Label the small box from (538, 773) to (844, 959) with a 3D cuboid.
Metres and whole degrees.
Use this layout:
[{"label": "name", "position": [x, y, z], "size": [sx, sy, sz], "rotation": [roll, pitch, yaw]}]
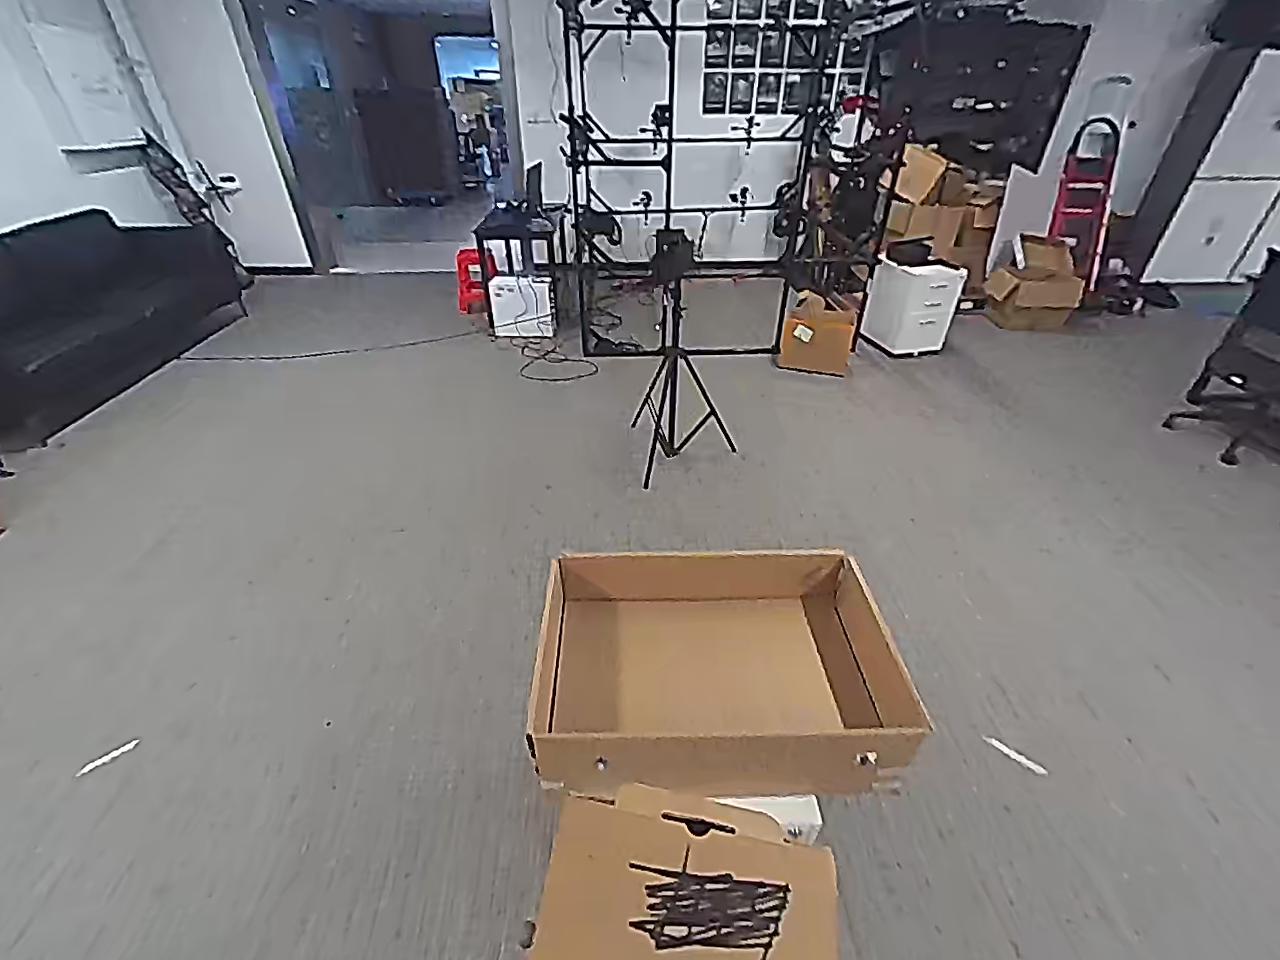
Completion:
[{"label": "small box", "position": [0.021, 0.312, 0.349], "size": [0.168, 0.176, 0.179], "rotation": [10, 56, 4]}]
